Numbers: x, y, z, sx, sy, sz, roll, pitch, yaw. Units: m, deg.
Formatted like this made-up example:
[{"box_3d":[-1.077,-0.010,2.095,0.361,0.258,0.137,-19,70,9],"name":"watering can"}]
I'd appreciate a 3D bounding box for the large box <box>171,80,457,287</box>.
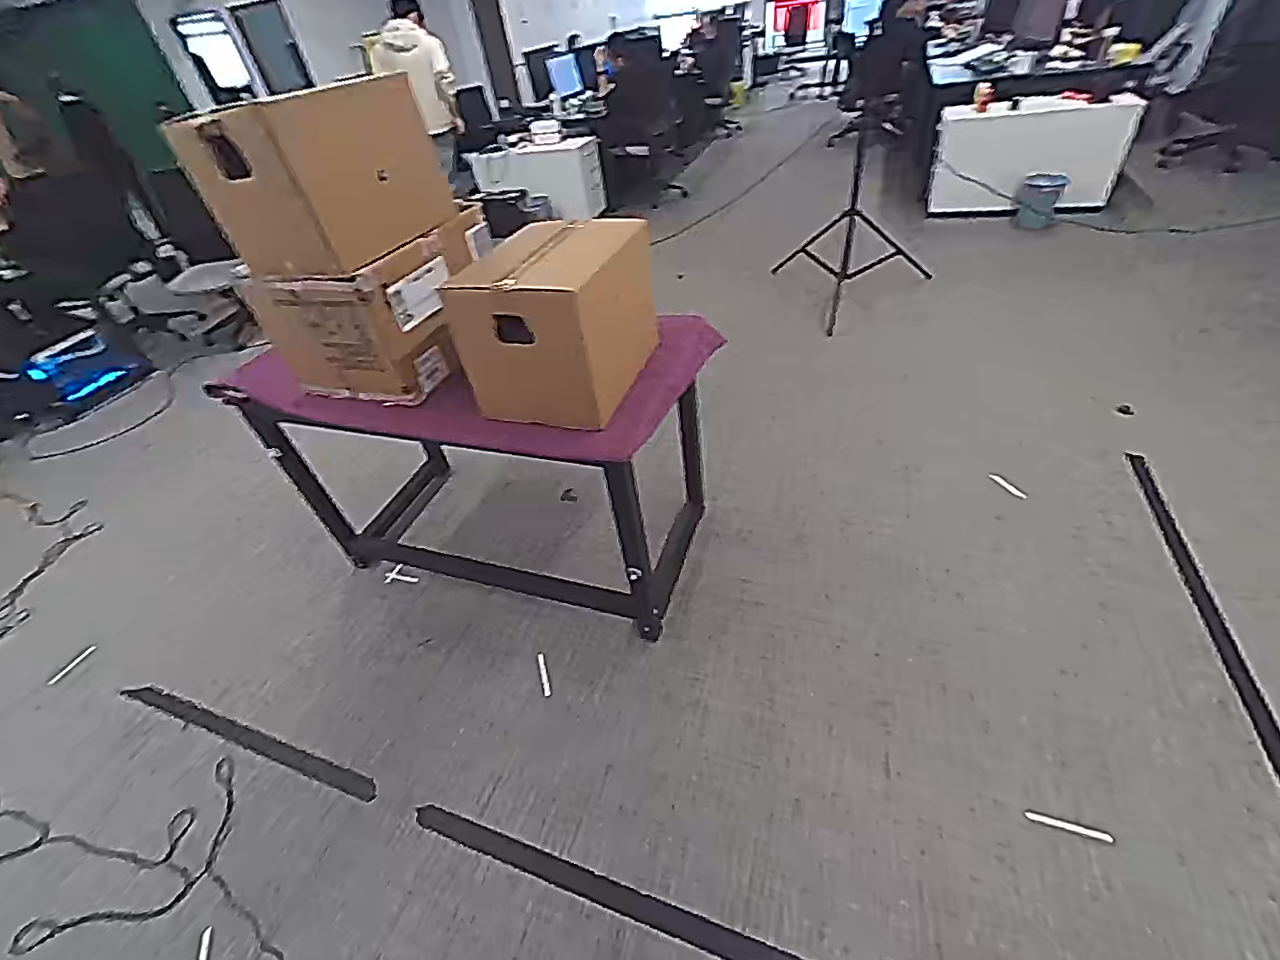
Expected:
[{"box_3d":[-0.704,-0.682,1.246,0.320,0.320,0.408,6,44,23],"name":"large box"}]
